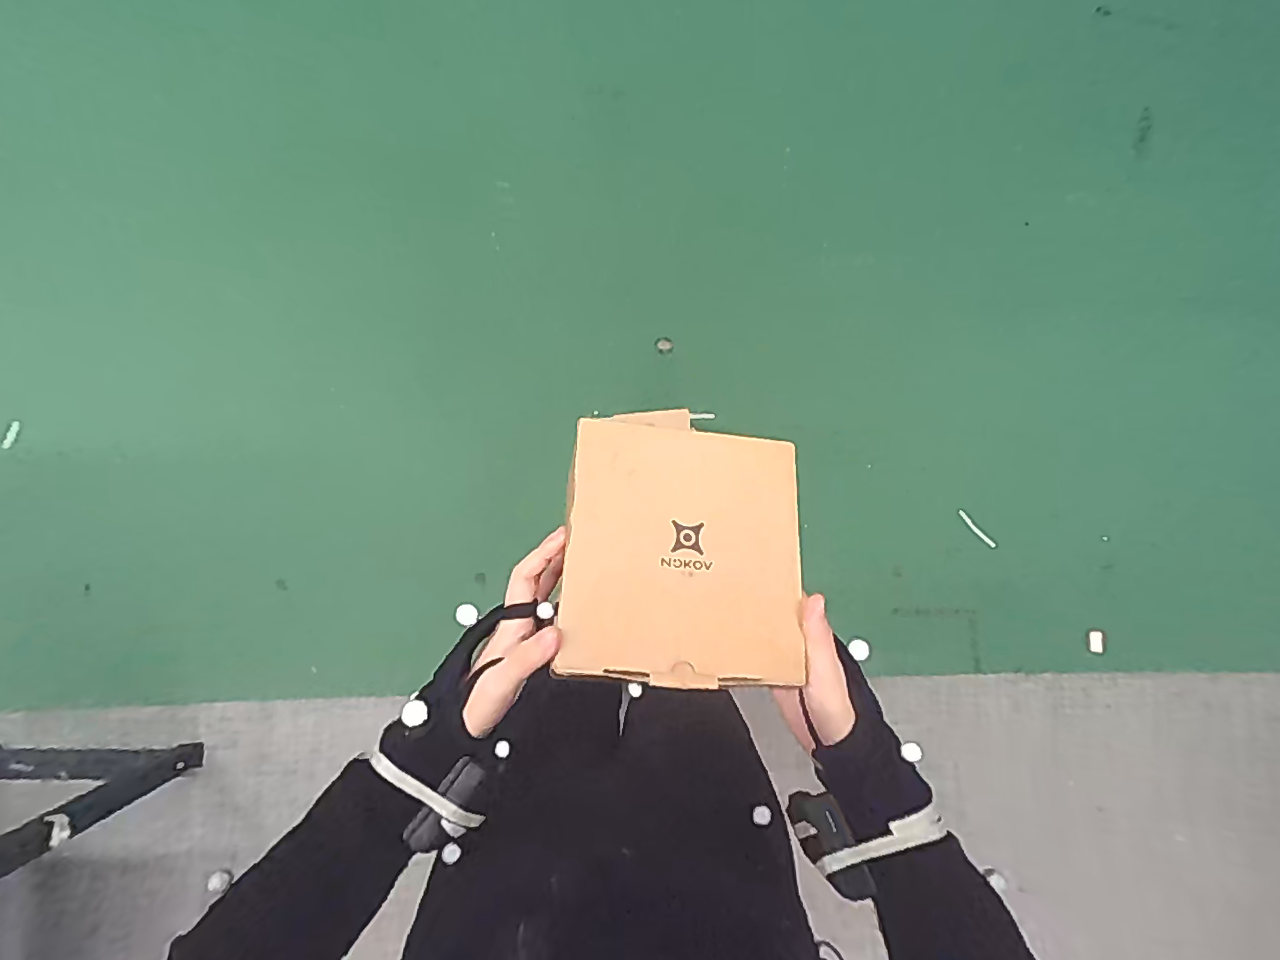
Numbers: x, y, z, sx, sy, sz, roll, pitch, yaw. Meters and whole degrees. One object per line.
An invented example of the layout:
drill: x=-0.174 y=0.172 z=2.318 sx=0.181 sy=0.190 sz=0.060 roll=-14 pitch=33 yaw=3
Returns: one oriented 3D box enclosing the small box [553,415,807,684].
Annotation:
small box: x=0.020 y=0.070 z=0.448 sx=0.168 sy=0.176 sz=0.179 roll=7 pitch=68 yaw=-9
